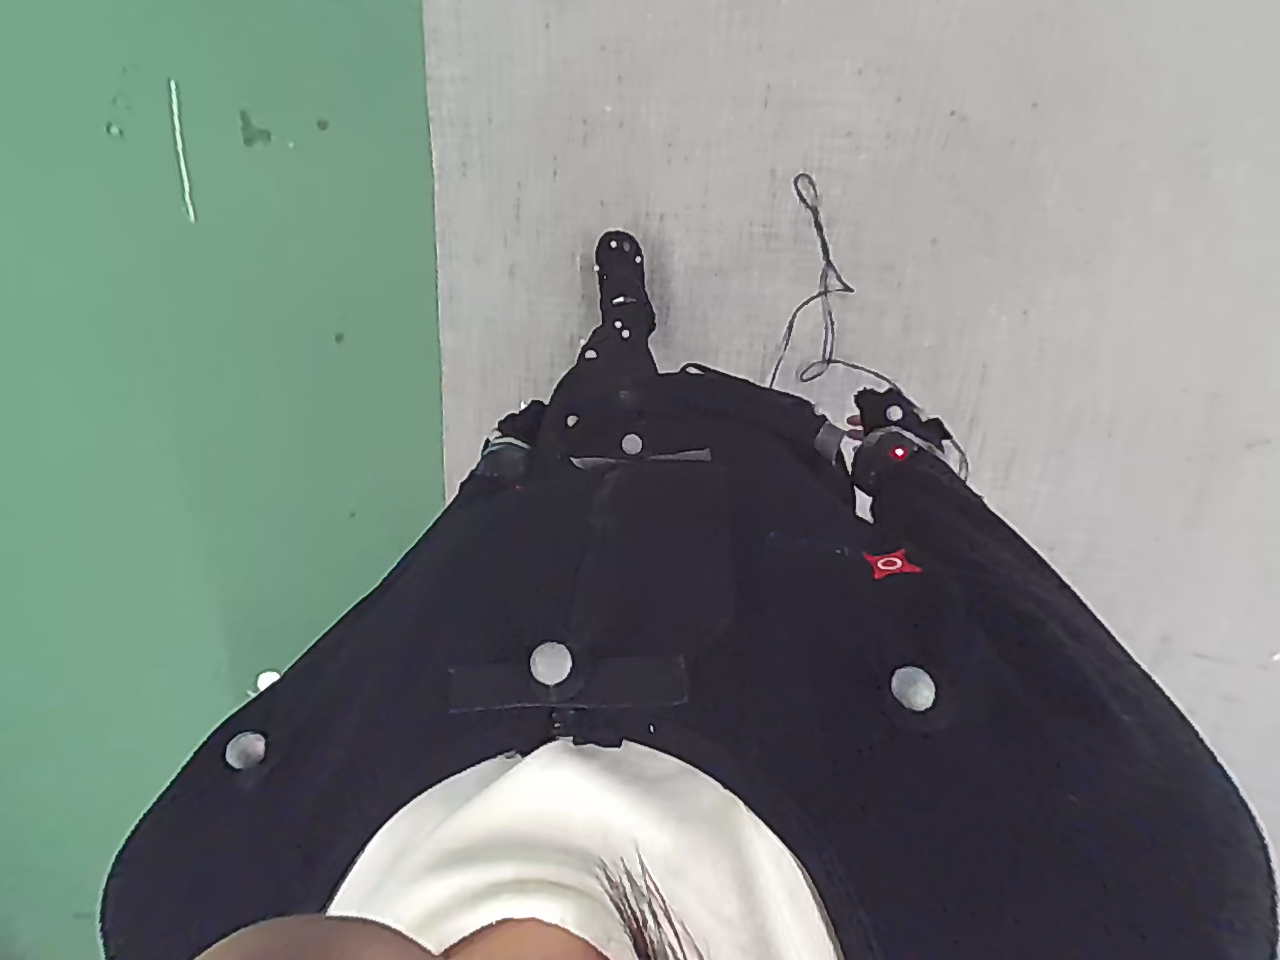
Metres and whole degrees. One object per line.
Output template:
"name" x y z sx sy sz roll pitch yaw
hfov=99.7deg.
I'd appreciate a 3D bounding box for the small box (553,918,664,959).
"small box" -0.058 0.842 0.854 0.179 0.176 0.168 0 106 9
